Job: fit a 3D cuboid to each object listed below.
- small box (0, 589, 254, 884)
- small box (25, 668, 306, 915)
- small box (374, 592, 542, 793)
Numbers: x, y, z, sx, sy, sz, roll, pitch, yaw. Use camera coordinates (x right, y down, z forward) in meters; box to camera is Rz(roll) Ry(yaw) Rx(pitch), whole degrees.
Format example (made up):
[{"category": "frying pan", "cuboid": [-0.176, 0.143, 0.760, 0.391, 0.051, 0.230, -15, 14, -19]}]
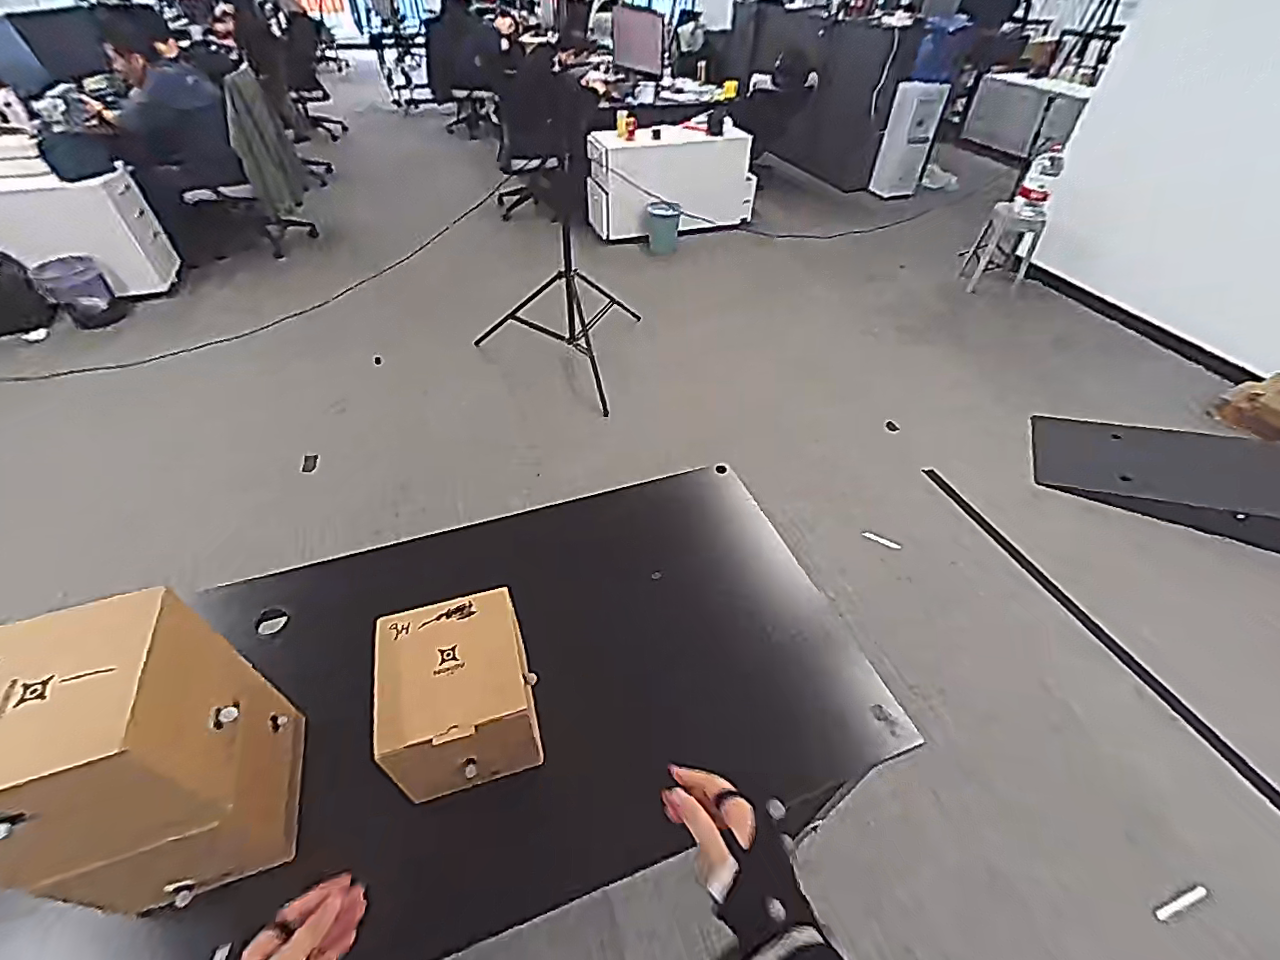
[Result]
[{"category": "small box", "cuboid": [-0.503, 0.236, 0.501, 0.179, 0.176, 0.168, -15, 46, -16]}, {"category": "small box", "cuboid": [-0.506, 0.353, 0.617, 0.168, 0.176, 0.179, -14, 47, -14]}, {"category": "small box", "cuboid": [-0.229, 0.279, 0.700, 0.168, 0.176, 0.179, -12, 46, -13]}]
